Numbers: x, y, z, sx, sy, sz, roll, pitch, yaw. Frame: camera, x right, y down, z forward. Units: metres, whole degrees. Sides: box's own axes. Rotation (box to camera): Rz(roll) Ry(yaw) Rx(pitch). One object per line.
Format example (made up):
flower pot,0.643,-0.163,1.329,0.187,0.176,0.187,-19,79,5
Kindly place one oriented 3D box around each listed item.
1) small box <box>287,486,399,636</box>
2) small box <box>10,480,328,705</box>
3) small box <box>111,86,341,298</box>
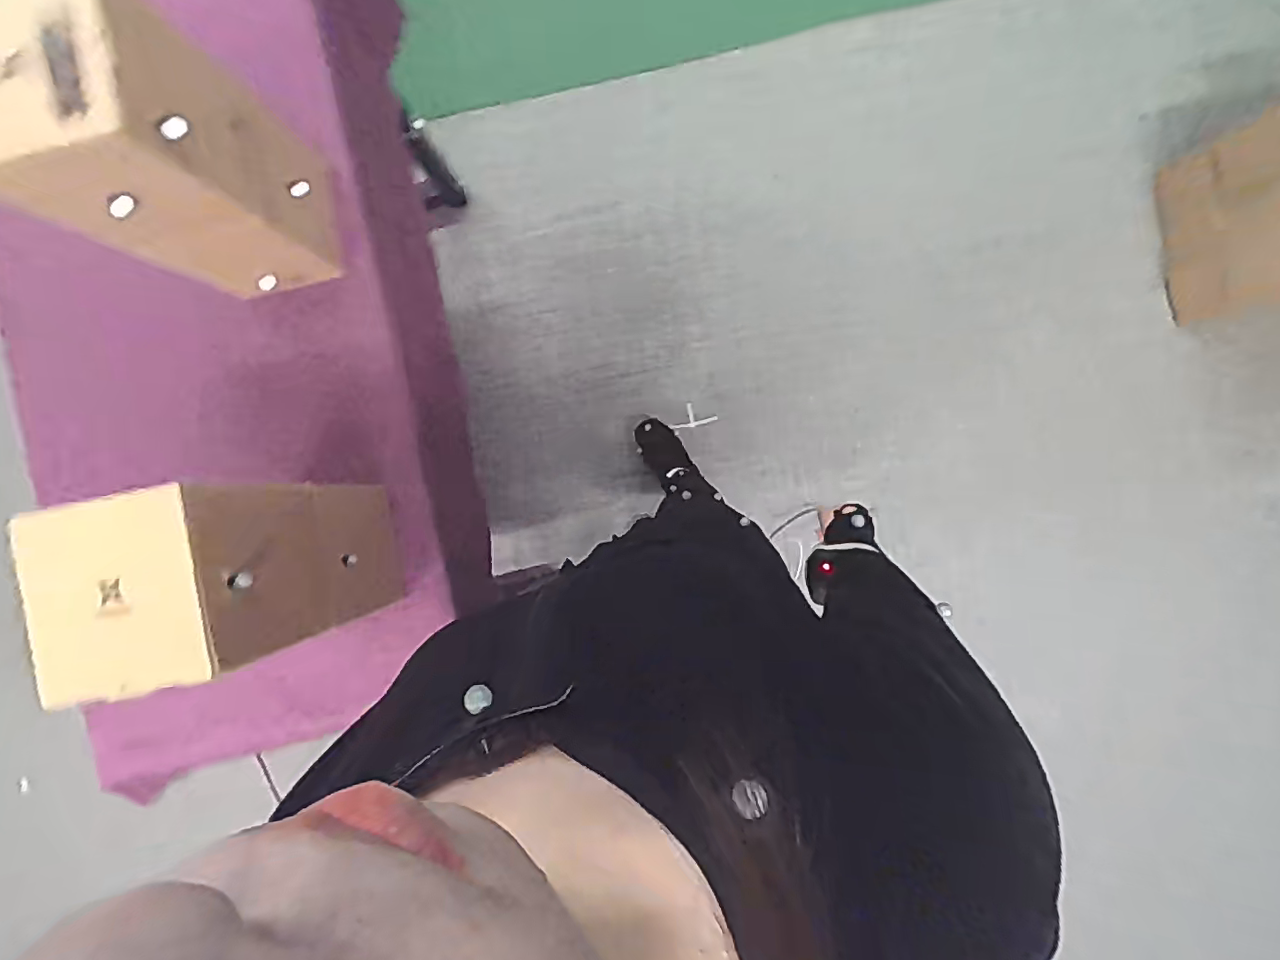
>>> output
small box,-0.445,0.106,0.716,0.168,0.176,0.179,-11,88,3
small box,-0.458,0.100,0.554,0.168,0.176,0.179,-11,90,4
small box,-0.540,-0.371,0.728,0.168,0.176,0.179,-11,90,4
